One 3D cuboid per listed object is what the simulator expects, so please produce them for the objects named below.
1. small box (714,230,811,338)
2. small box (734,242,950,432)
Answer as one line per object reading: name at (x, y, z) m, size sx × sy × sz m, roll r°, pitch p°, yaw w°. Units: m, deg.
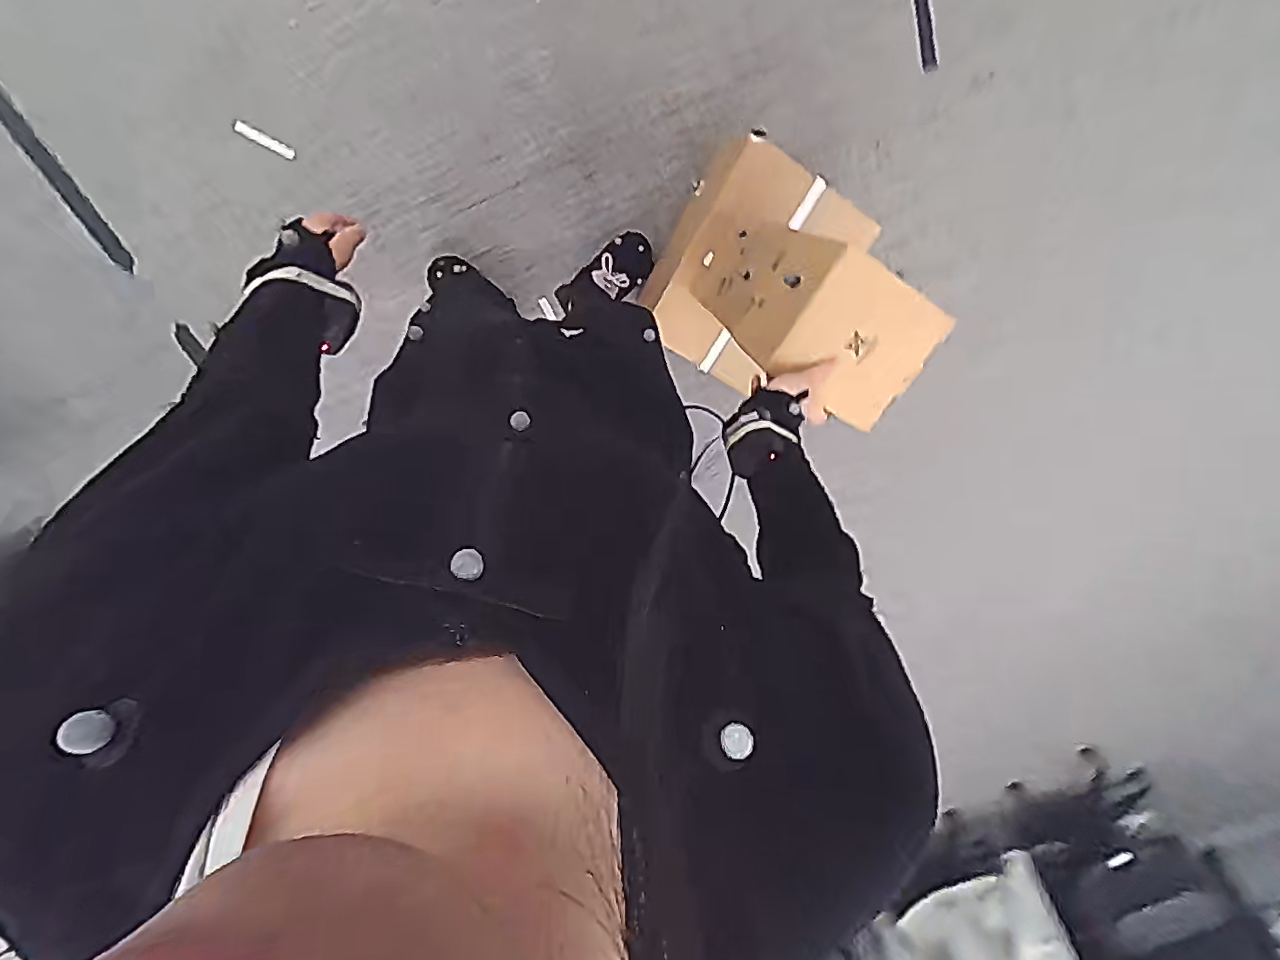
small box at (0.239, -0.277, 0.860) m, size 0.179 × 0.176 × 0.168 m, roll 25°, pitch 114°, yaw -17°
small box at (0.251, -0.197, 0.720) m, size 0.179 × 0.176 × 0.168 m, roll 26°, pitch 113°, yaw -19°
